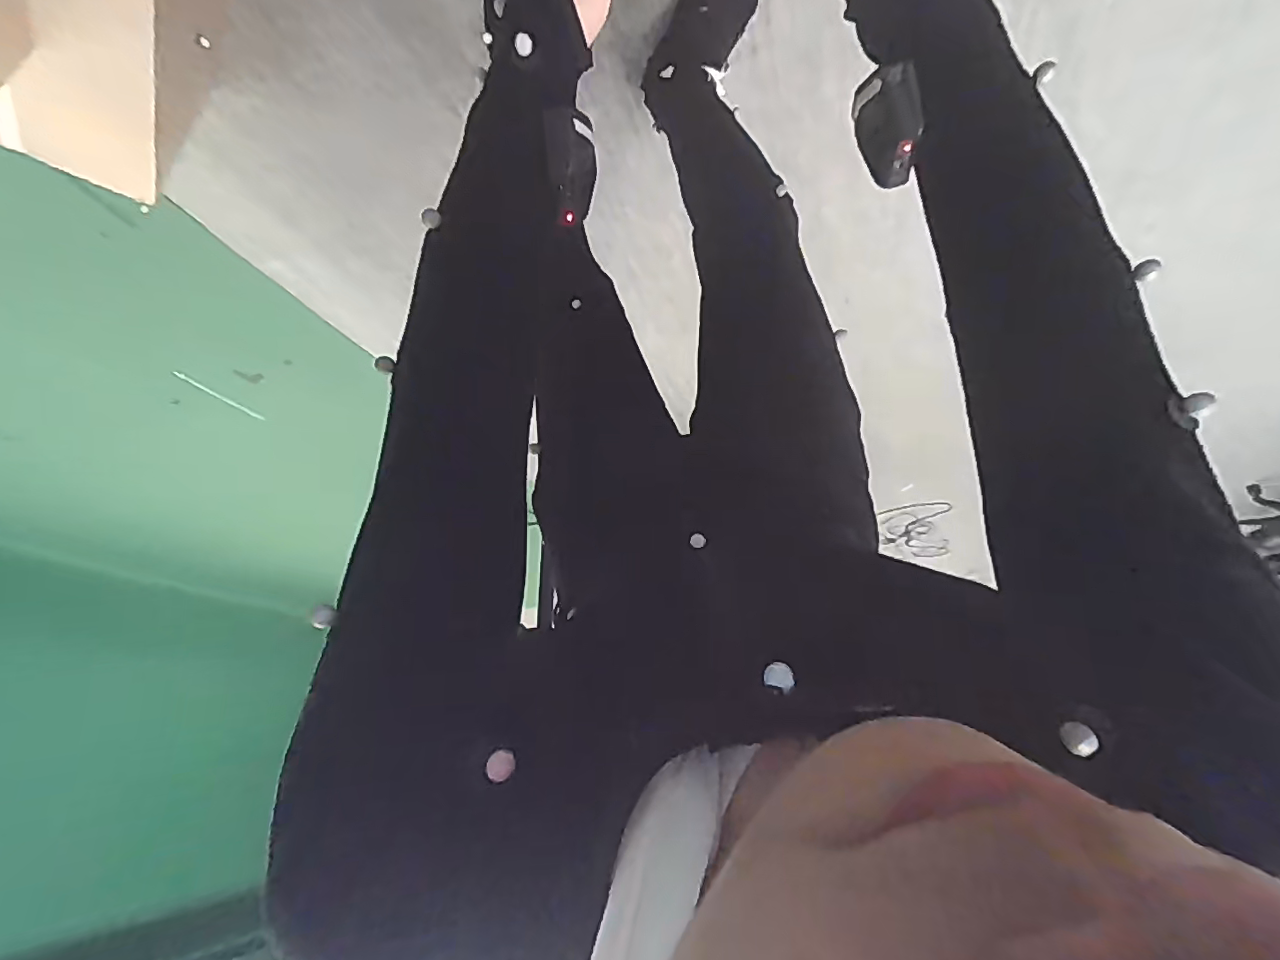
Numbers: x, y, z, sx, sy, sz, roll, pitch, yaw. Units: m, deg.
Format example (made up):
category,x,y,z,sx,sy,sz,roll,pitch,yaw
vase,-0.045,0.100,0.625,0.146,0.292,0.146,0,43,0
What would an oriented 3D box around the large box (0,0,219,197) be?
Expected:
category,x,y,z,sx,sy,sz,roll,pitch,yaw
large box,-0.767,-0.687,0.693,0.320,0.320,0.408,19,149,-35
